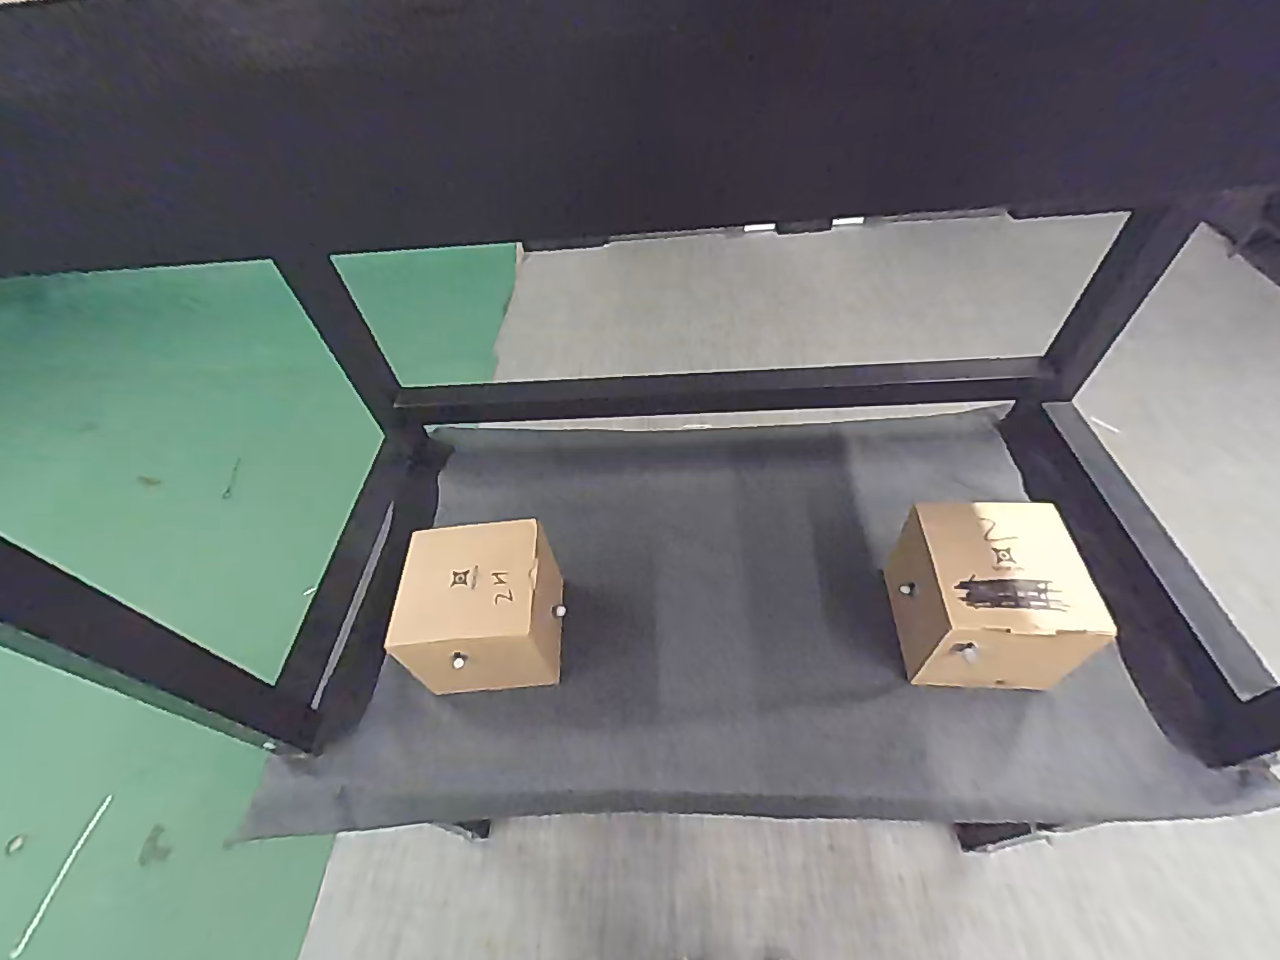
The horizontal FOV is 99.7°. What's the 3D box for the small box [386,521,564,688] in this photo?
[{"bbox_3d":[-0.211,0.176,0.745,0.179,0.176,0.168,-5,51,2],"label":"small box"}]
